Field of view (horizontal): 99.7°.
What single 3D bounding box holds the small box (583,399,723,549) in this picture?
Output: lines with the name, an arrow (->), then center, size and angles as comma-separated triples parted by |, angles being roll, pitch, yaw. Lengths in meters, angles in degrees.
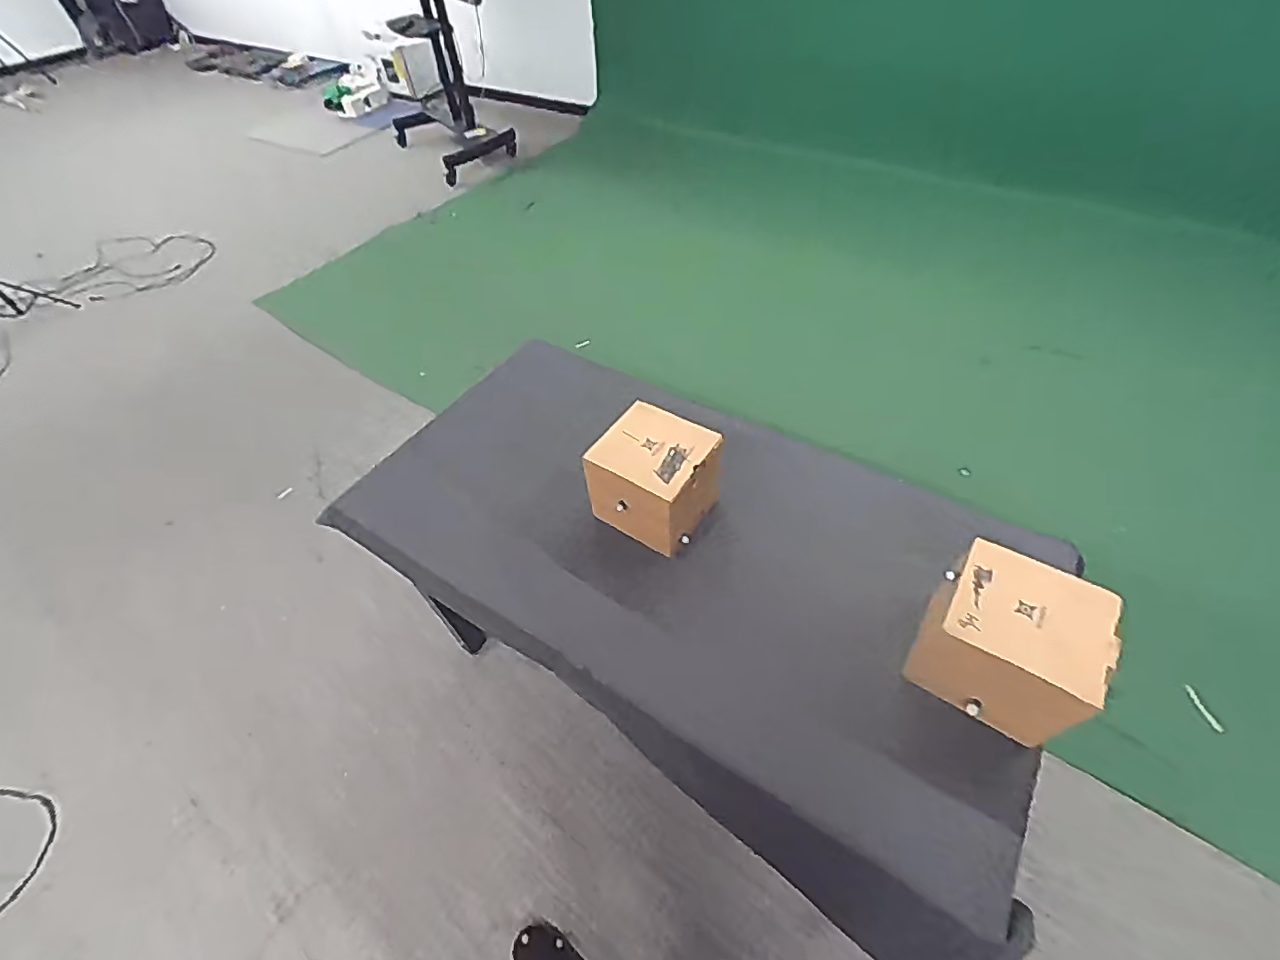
small box -> 0.025, -0.005, 0.946 | 0.179, 0.176, 0.168 | 27, 56, 23

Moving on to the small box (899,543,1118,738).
small box -> 0.492, 0.225, 0.740 | 0.179, 0.176, 0.168 | 28, 56, 23
